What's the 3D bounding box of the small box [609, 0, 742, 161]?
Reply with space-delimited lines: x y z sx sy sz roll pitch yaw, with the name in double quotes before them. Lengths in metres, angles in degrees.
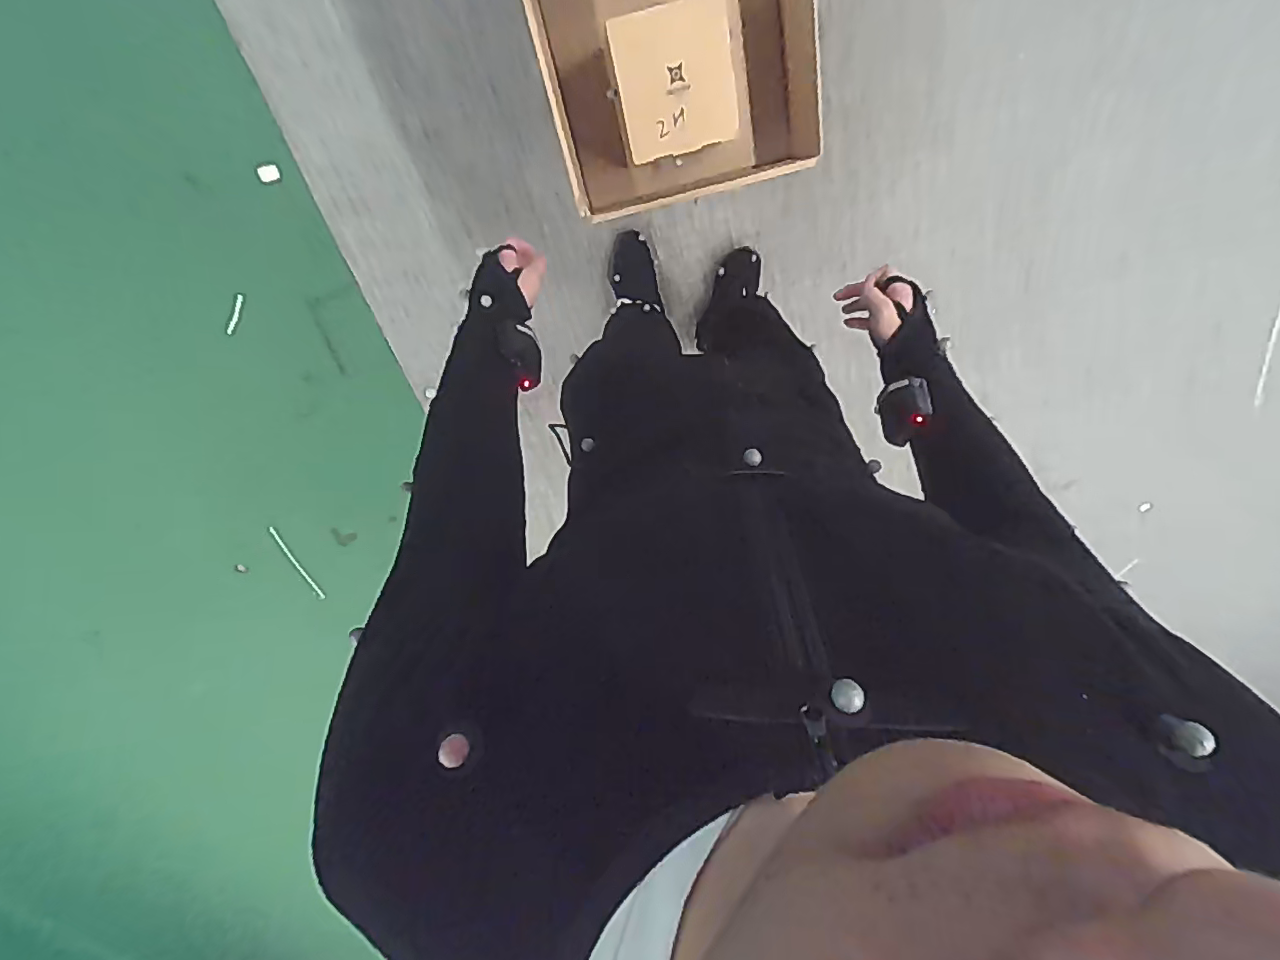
"small box" 0.049 -0.605 0.824 0.168 0.176 0.179 -13 119 4
